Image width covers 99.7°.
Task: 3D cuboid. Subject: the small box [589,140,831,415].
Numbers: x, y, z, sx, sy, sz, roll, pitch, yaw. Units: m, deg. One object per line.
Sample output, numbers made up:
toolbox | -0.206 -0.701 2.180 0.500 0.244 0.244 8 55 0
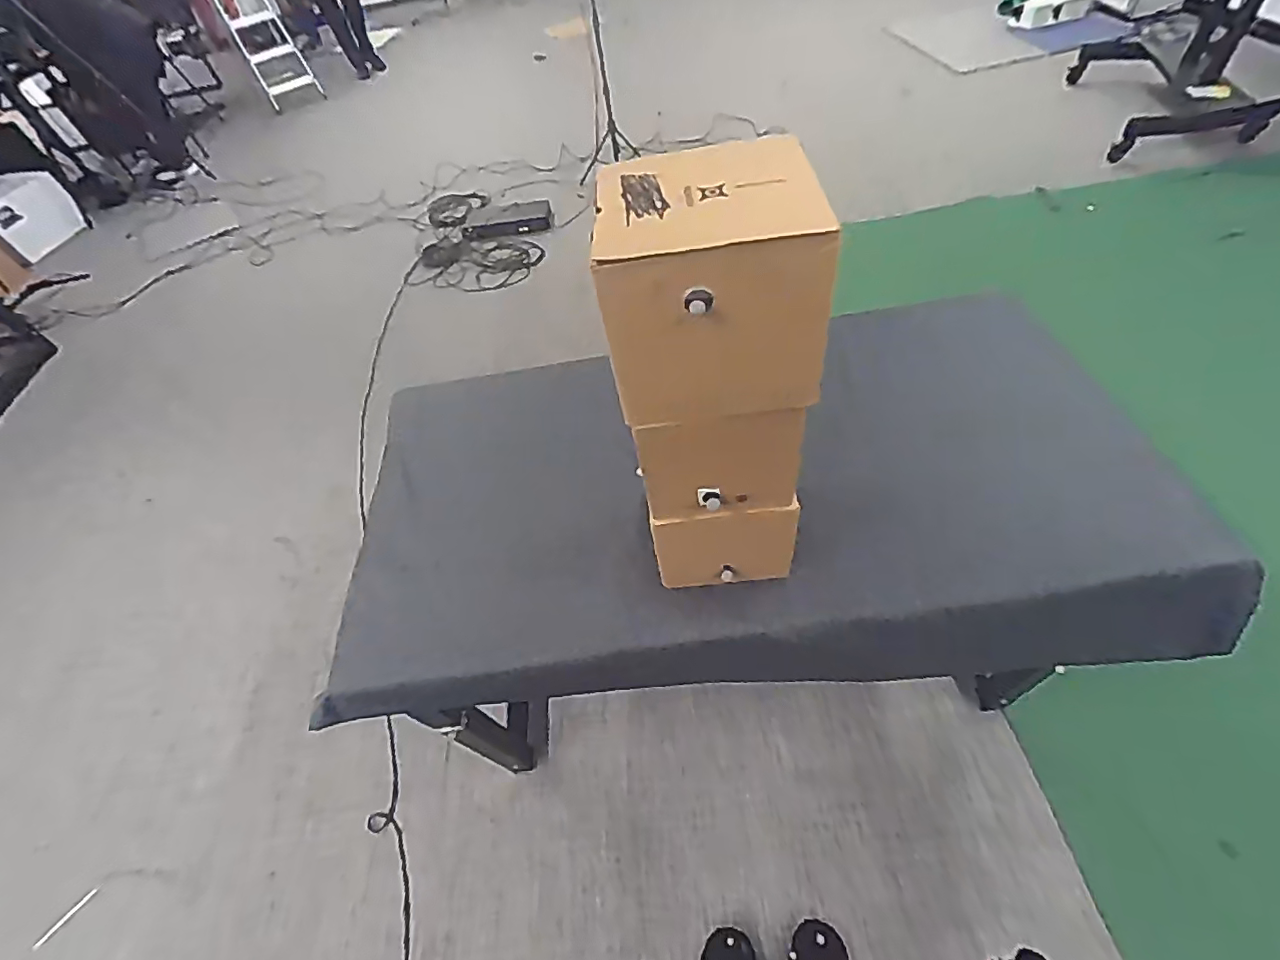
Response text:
small box | 0.060 -0.175 0.493 0.179 0.176 0.168 -5 52 6

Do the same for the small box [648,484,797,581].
small box | 0.104 0.025 0.747 0.179 0.176 0.168 -6 52 4

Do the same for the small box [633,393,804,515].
small box | 0.080 -0.081 0.626 0.168 0.176 0.179 -8 53 5
